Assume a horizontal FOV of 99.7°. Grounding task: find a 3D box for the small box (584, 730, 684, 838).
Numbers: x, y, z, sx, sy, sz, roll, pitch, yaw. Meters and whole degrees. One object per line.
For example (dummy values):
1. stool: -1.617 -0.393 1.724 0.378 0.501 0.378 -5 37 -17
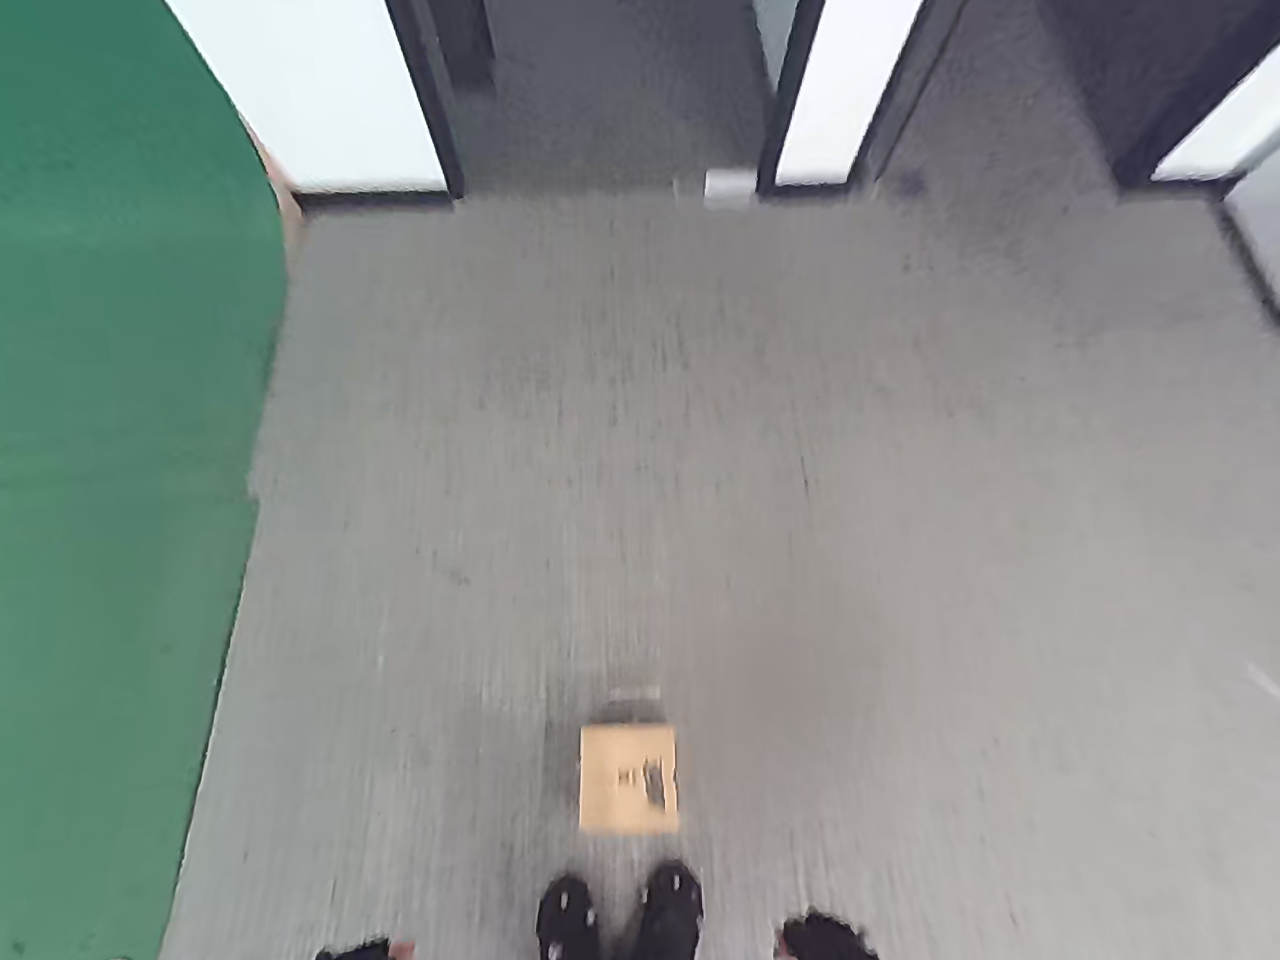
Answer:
1. small box: -0.012 0.574 1.039 0.179 0.176 0.168 -1 67 -1
